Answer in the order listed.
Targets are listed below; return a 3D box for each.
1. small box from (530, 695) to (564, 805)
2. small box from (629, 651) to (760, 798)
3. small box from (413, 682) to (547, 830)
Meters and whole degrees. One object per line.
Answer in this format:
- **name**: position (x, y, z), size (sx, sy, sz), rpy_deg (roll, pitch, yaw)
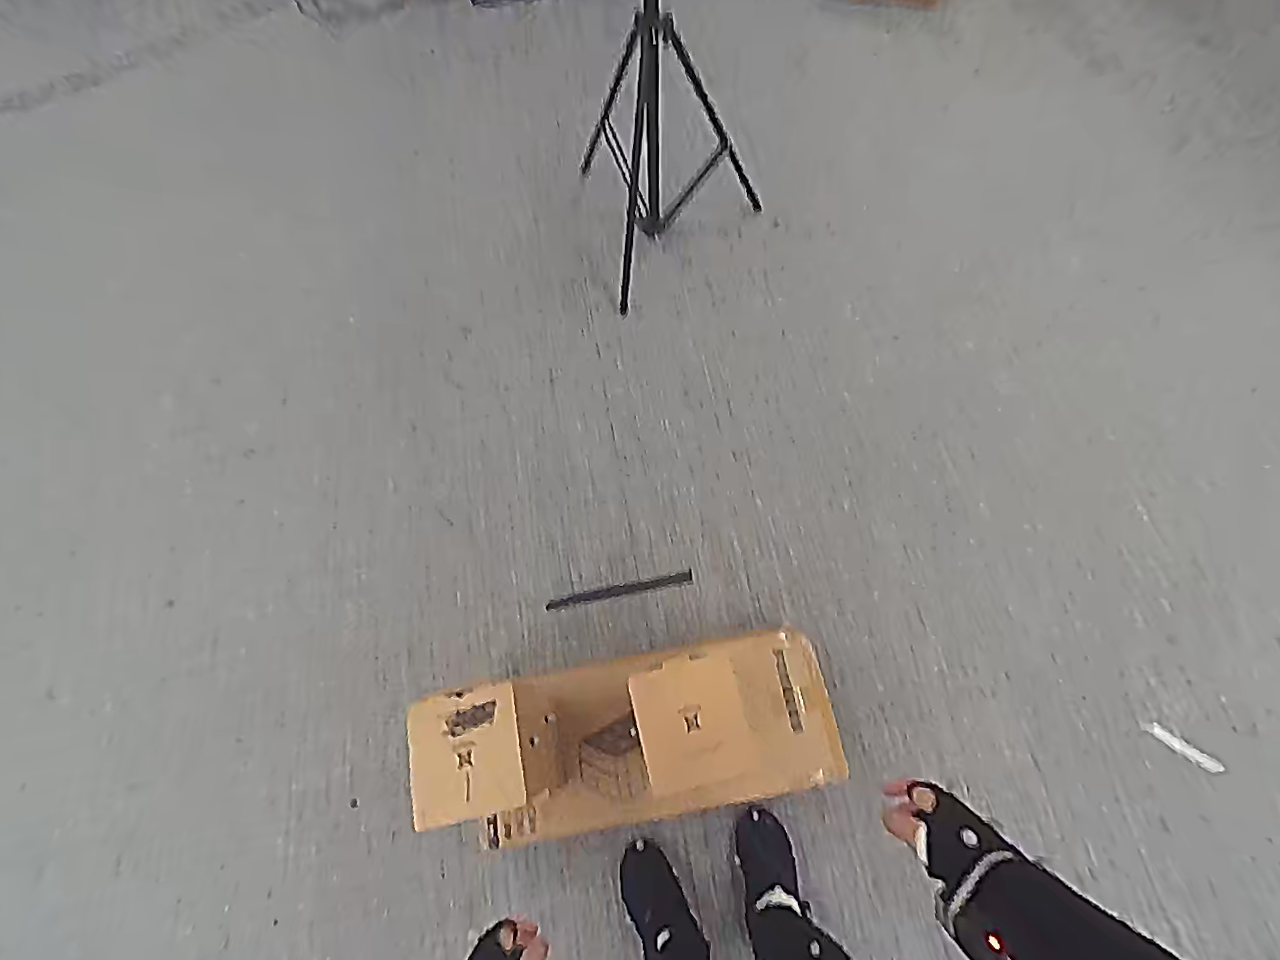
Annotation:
- **small box**: position (-0.246, 0.518, 1.030), size (0.168, 0.176, 0.179), rpy_deg (-10, 68, -2)
- **small box**: position (0.082, 0.397, 0.894), size (0.168, 0.176, 0.179), rpy_deg (-15, 68, -2)
- **small box**: position (-0.256, 0.442, 0.885), size (0.168, 0.176, 0.179), rpy_deg (-12, 68, -3)
